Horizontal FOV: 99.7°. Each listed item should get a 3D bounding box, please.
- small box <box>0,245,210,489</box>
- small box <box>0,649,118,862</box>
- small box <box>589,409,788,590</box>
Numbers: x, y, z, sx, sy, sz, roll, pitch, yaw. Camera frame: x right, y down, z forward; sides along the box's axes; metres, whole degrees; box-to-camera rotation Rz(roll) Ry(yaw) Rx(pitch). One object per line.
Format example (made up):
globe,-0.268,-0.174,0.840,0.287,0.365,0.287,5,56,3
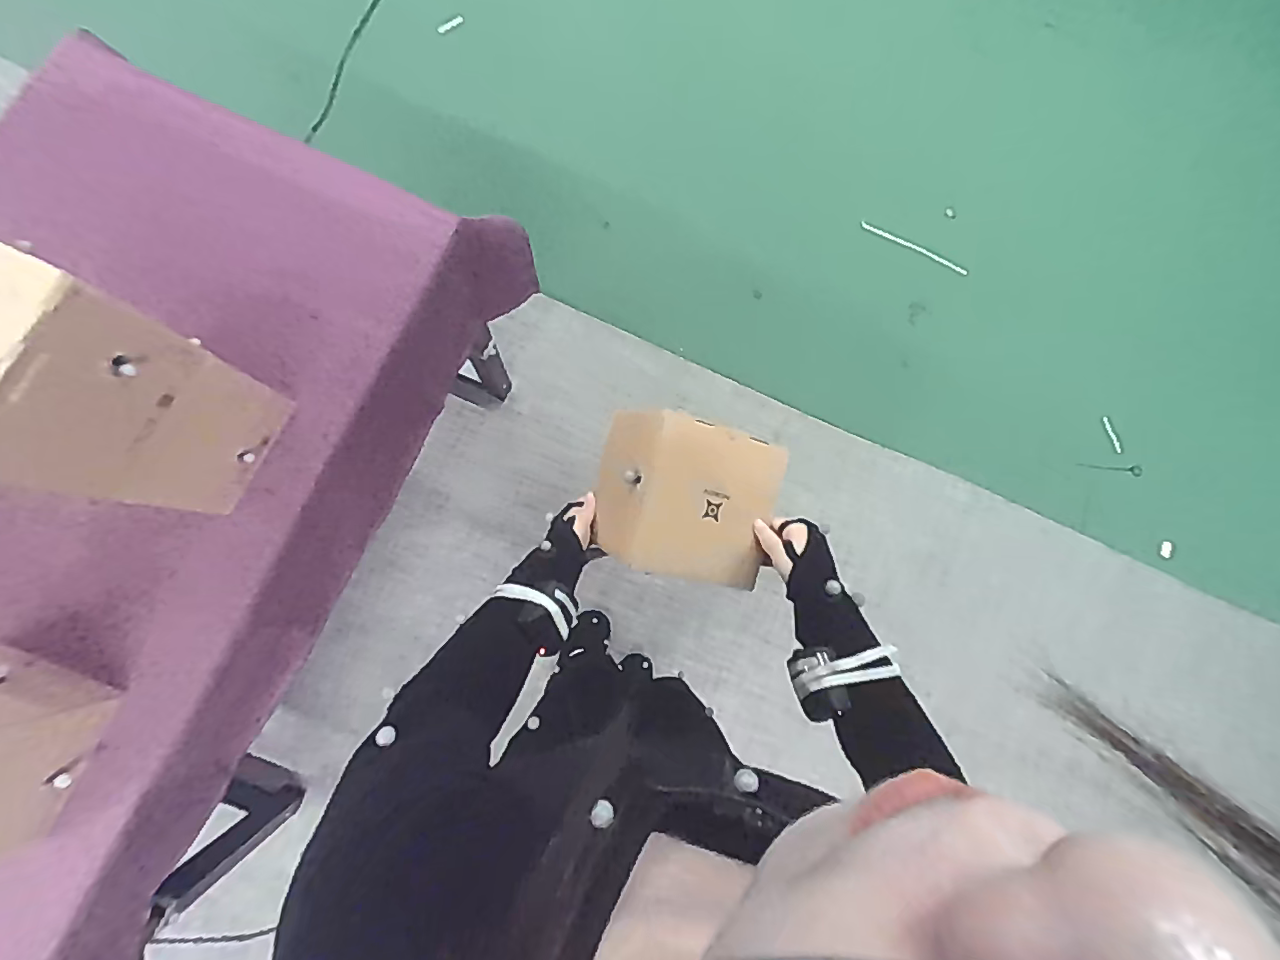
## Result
small box,-0.536,-0.101,0.465,0.179,0.176,0.168,24,79,-2
small box,-0.707,0.289,0.552,0.168,0.176,0.179,22,79,-2
small box,0.049,0.019,0.671,0.168,0.176,0.179,14,90,-24
